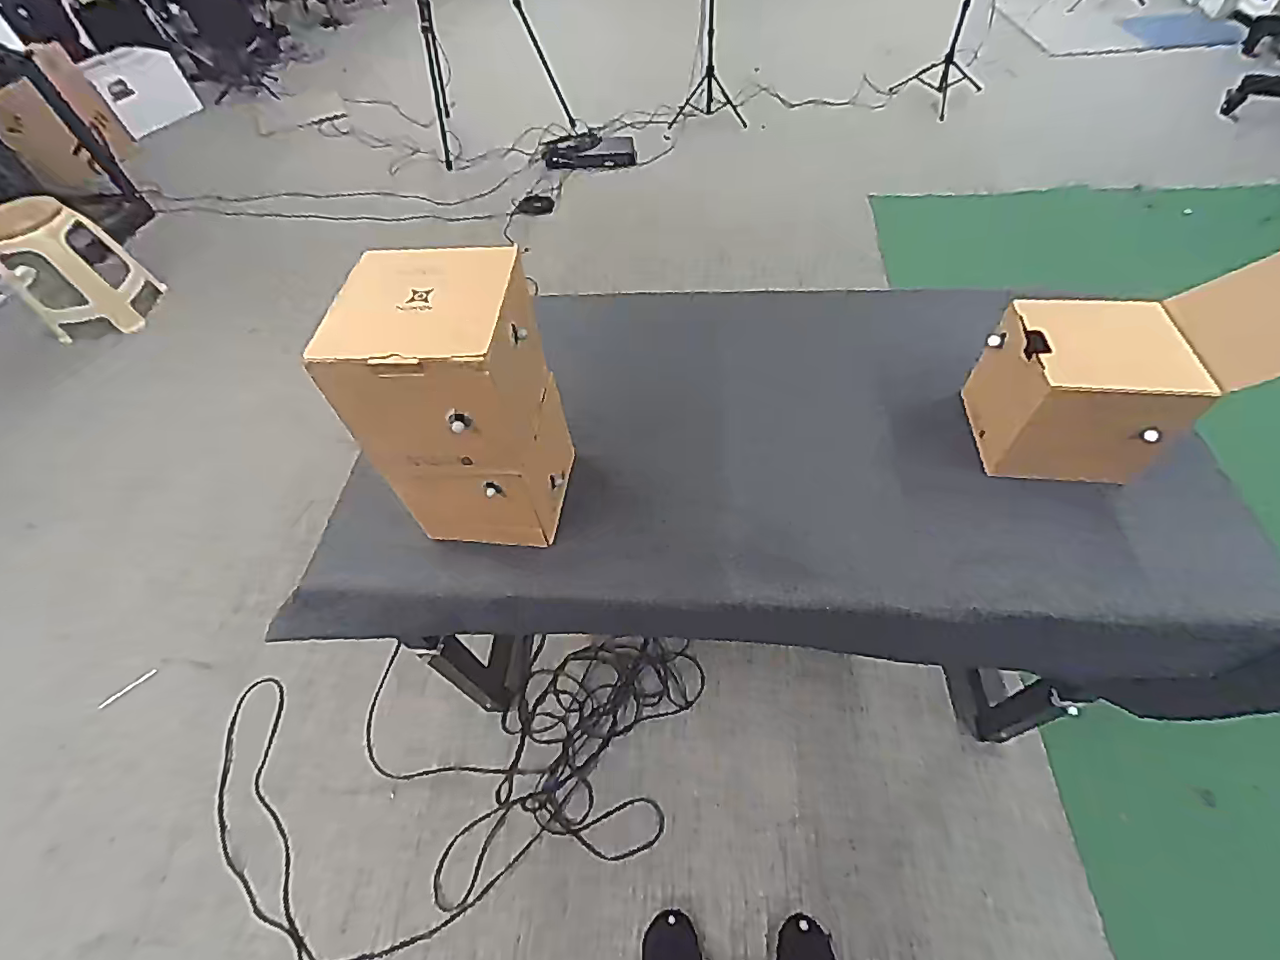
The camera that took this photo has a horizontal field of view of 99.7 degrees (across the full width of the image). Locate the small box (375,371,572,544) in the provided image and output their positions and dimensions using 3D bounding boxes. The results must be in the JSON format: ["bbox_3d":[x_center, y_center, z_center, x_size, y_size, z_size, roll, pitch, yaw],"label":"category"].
[{"bbox_3d":[-0.200,-0.029,0.710,0.179,0.176,0.168,4,53,7],"label":"small box"}]

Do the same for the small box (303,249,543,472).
[{"bbox_3d":[-0.206,-0.121,0.577,0.168,0.176,0.179,0,52,3],"label":"small box"}]
